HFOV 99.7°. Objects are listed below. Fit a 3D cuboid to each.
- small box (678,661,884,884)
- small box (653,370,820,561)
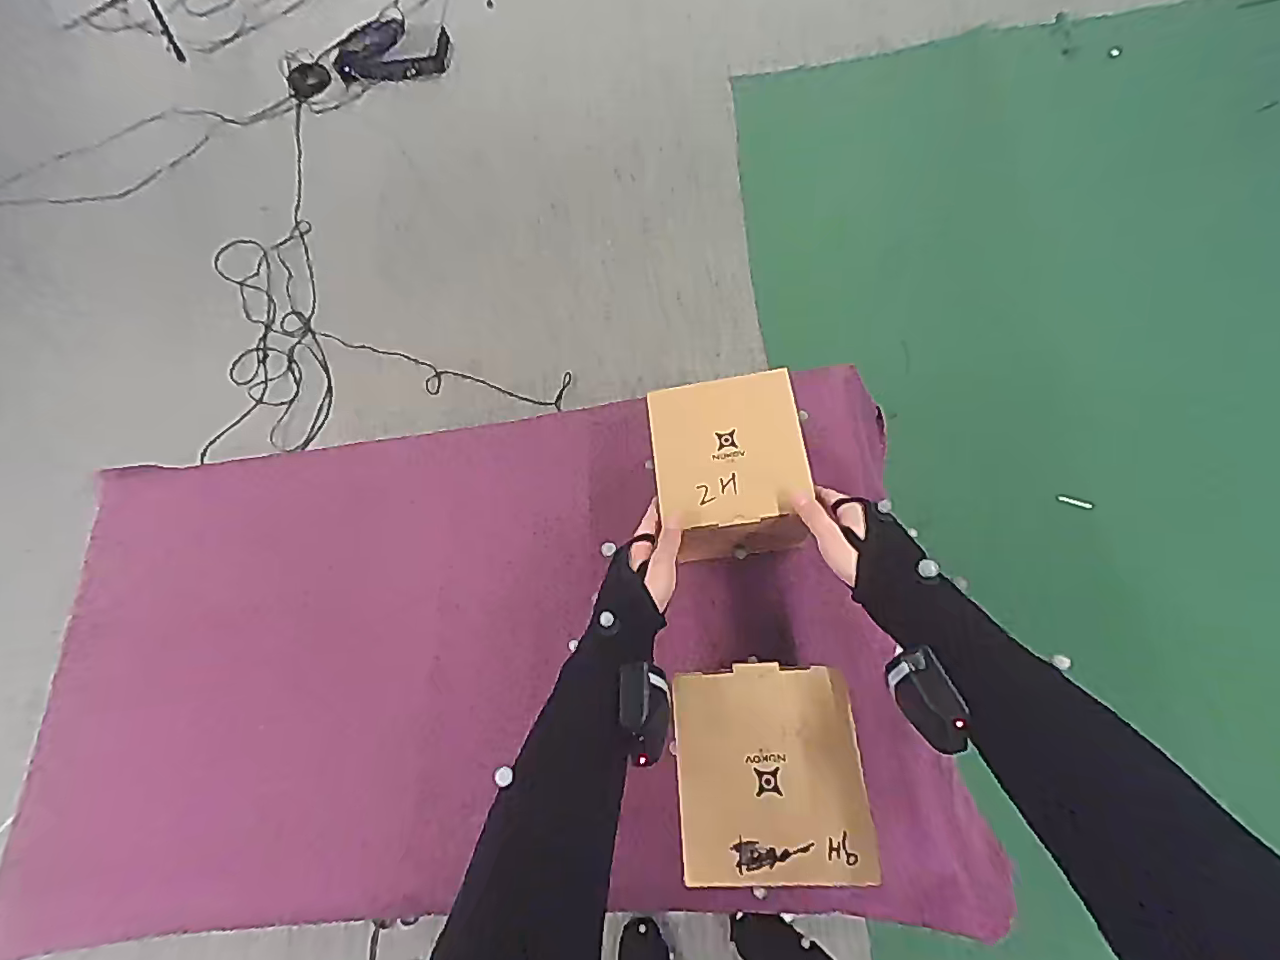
[{"bbox_3d":[0.130,0.290,0.559,0.168,0.176,0.179,-6,66,7],"label":"small box"},{"bbox_3d":[0.114,-0.008,0.670,0.168,0.176,0.179,-8,69,8],"label":"small box"}]
